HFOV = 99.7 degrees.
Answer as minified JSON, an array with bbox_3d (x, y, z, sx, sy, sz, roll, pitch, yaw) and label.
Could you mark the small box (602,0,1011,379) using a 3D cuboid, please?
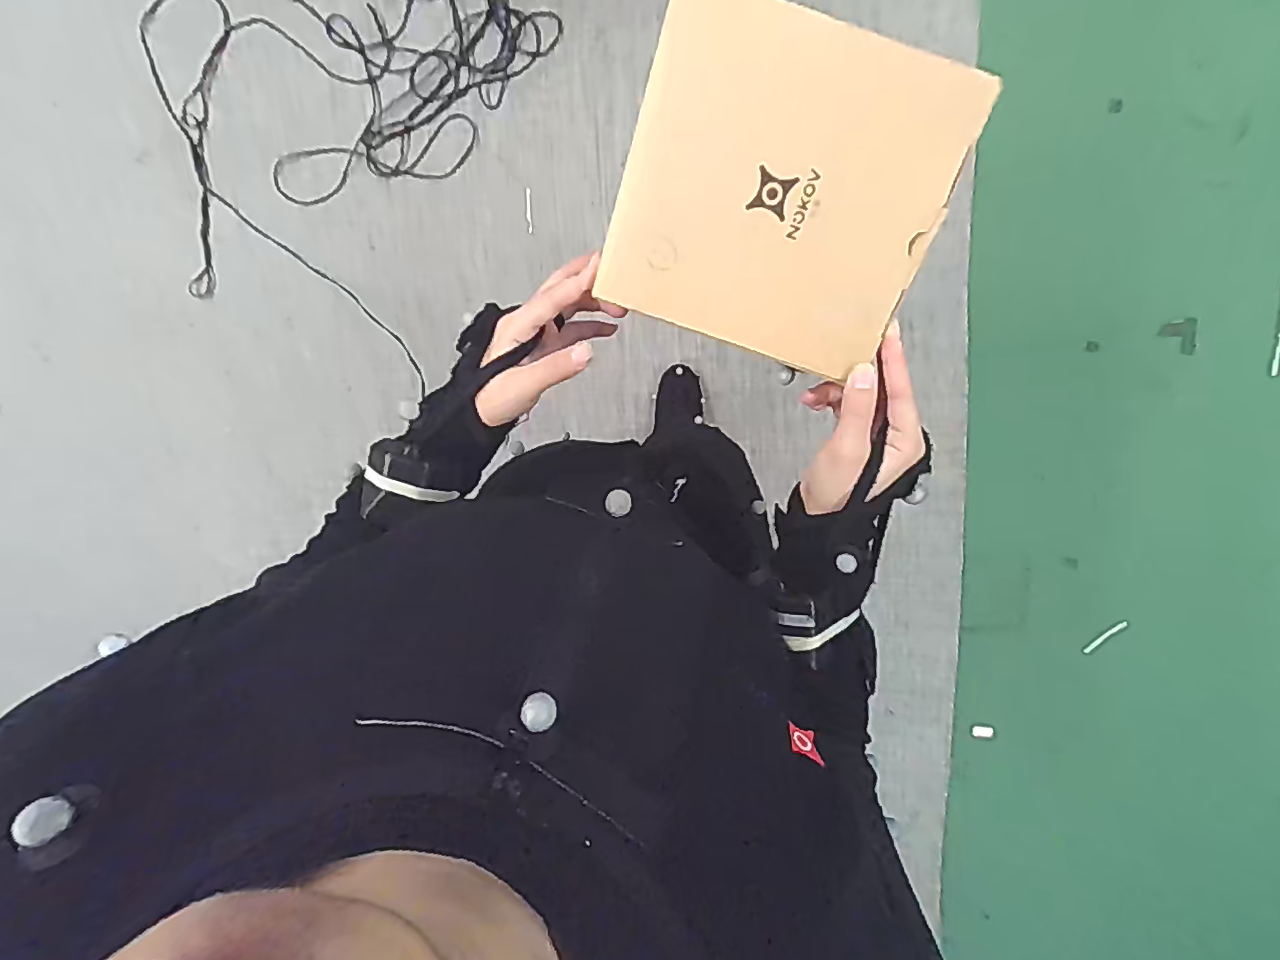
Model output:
[{"bbox_3d":[0.089,-0.184,0.373,0.179,0.176,0.168,18,111,-2],"label":"small box"}]
